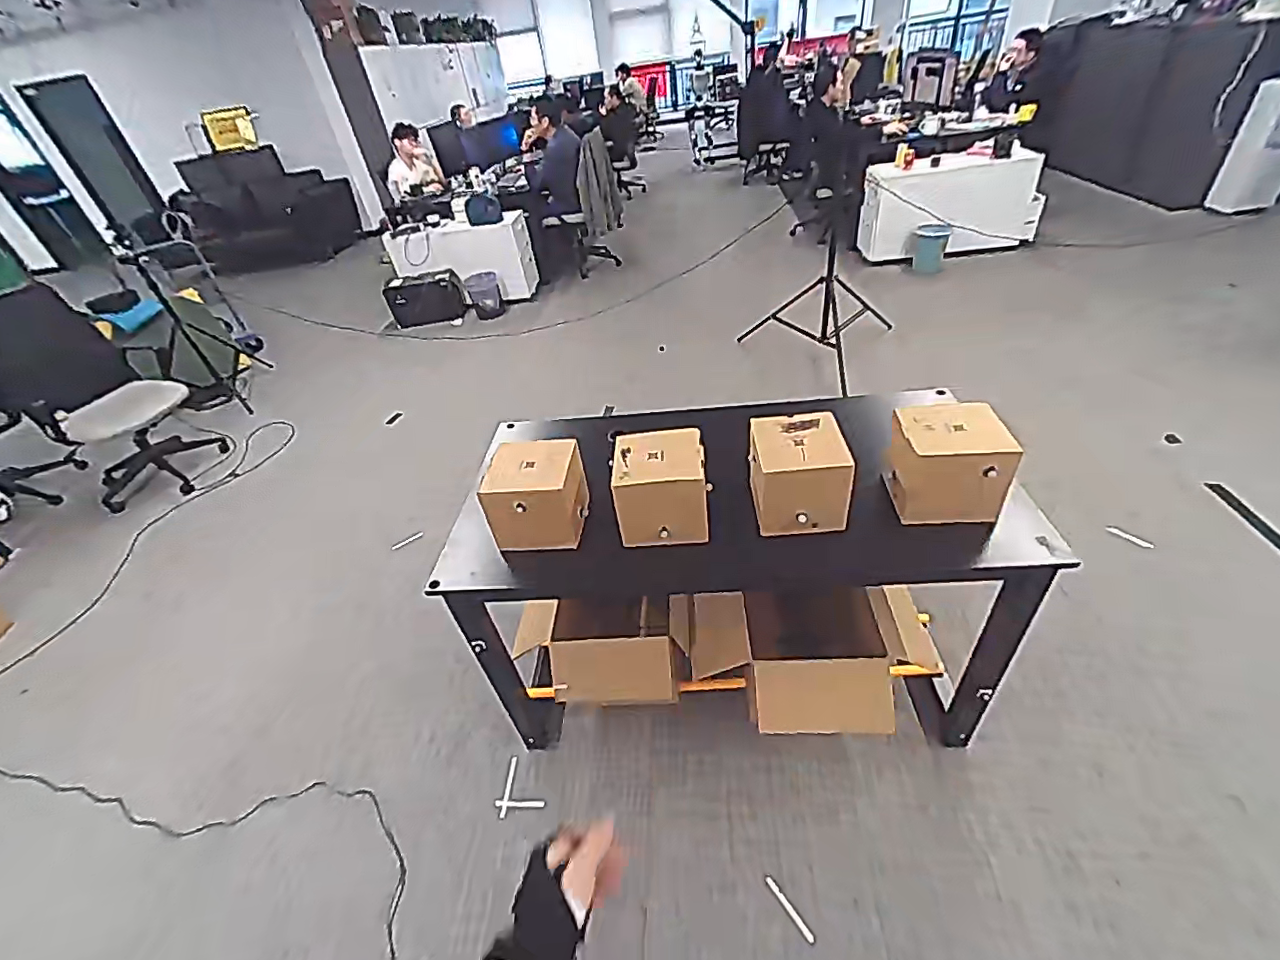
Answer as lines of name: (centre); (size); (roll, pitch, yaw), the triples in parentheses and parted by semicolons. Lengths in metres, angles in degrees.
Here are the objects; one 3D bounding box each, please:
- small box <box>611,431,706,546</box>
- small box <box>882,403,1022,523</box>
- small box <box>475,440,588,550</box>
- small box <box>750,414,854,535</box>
small box: (0.043, 0.019, 1.104); (0.179, 0.176, 0.168); (-4, 38, 5)
small box: (0.590, -0.031, 1.050); (0.179, 0.176, 0.168); (-3, 38, 9)
small box: (-0.218, 0.034, 1.138); (0.179, 0.176, 0.168); (-3, 40, 7)
small box: (0.313, -0.010, 1.084); (0.168, 0.176, 0.179); (-5, 39, 6)
